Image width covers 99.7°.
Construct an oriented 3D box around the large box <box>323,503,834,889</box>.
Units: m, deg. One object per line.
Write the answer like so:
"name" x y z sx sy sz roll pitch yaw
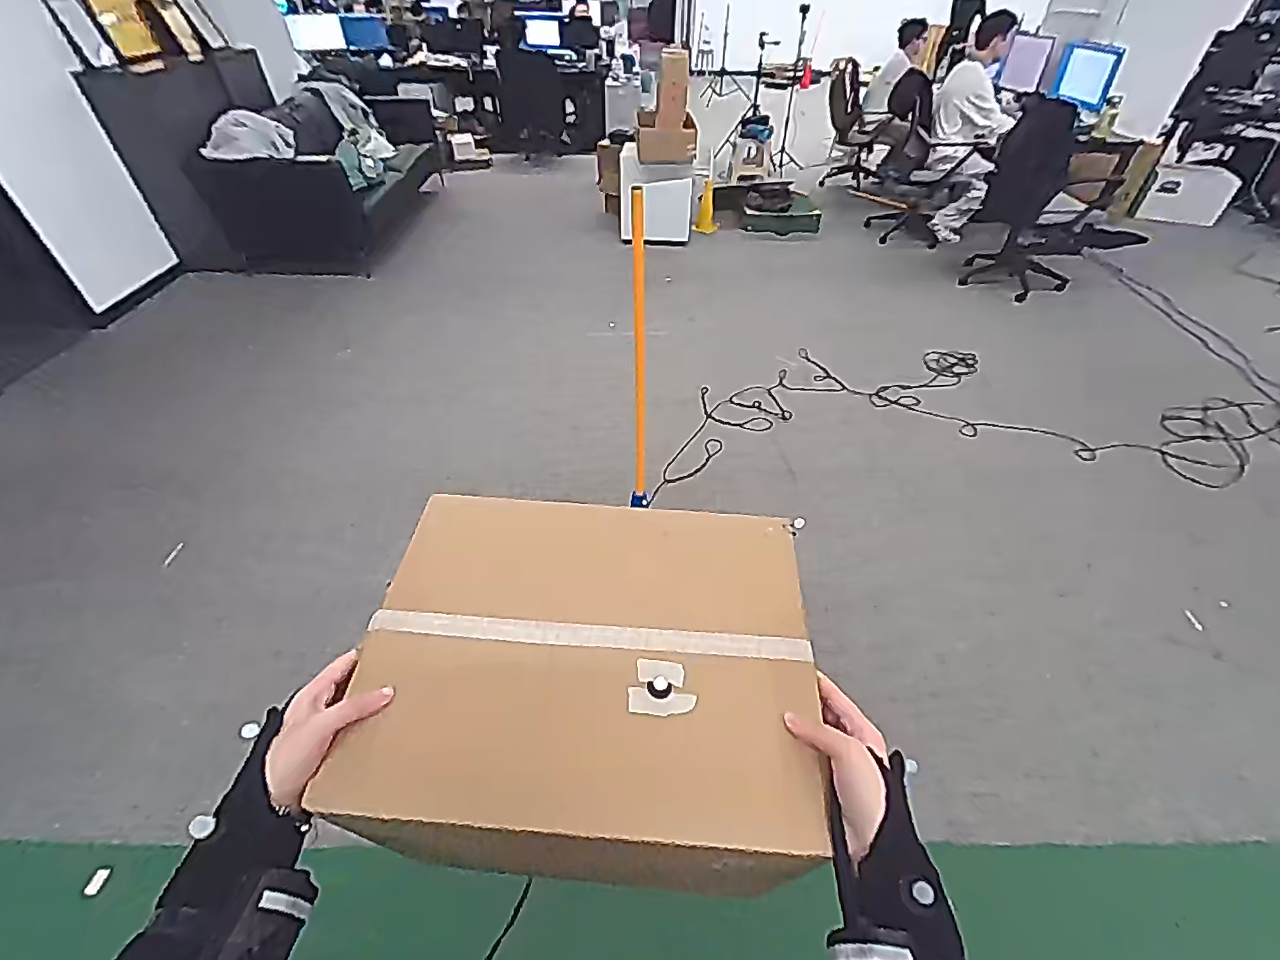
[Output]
"large box" -0.047 0.251 0.621 0.408 0.320 0.320 5 49 1
